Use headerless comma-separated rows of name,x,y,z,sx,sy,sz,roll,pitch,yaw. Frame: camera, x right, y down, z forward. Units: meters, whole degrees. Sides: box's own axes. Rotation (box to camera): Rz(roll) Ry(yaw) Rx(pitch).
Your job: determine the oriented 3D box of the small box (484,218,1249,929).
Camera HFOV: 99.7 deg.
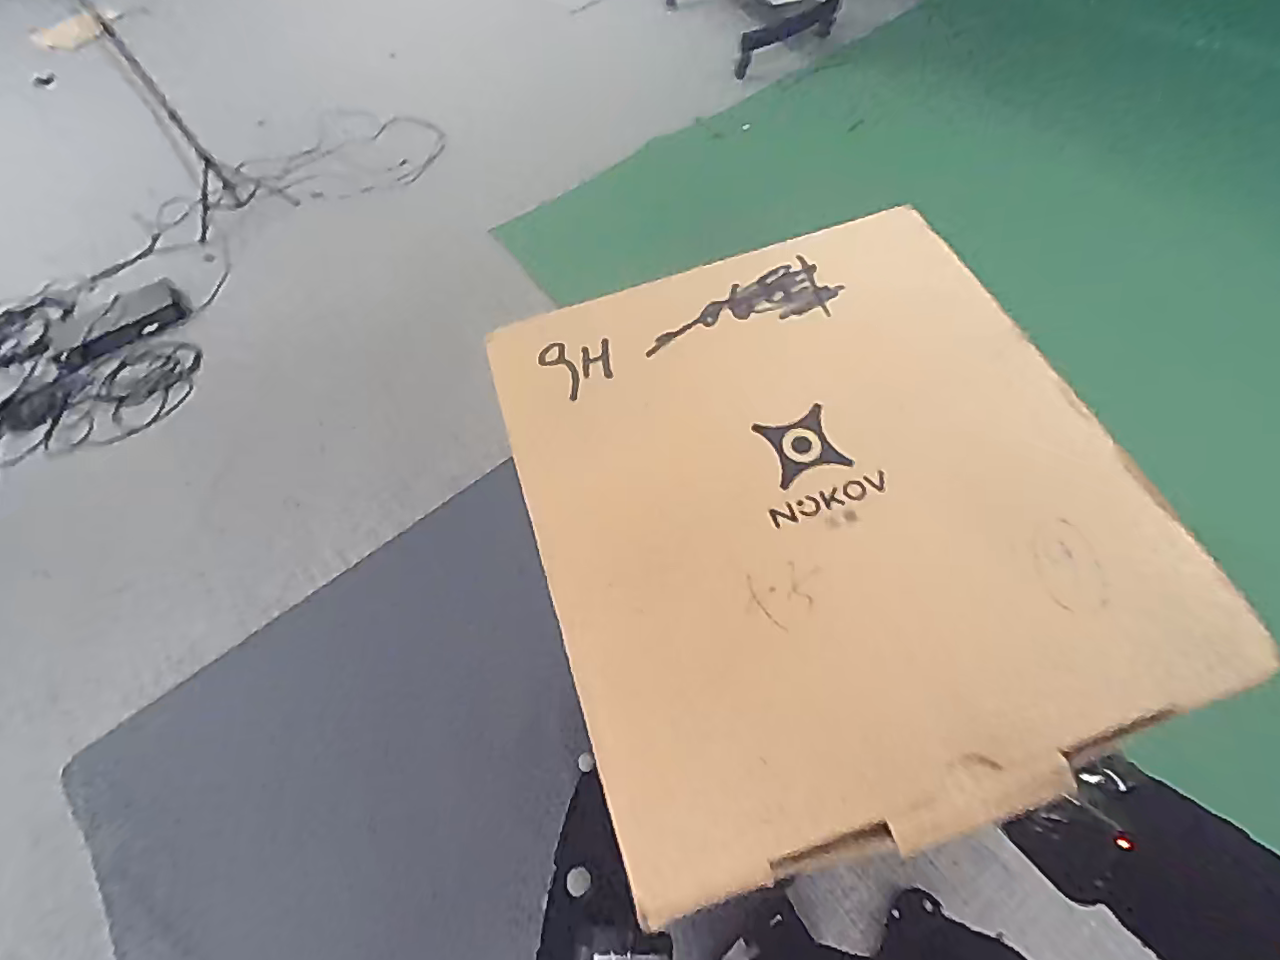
small box,0.053,0.034,0.232,0.168,0.176,0.179,-17,67,-4
